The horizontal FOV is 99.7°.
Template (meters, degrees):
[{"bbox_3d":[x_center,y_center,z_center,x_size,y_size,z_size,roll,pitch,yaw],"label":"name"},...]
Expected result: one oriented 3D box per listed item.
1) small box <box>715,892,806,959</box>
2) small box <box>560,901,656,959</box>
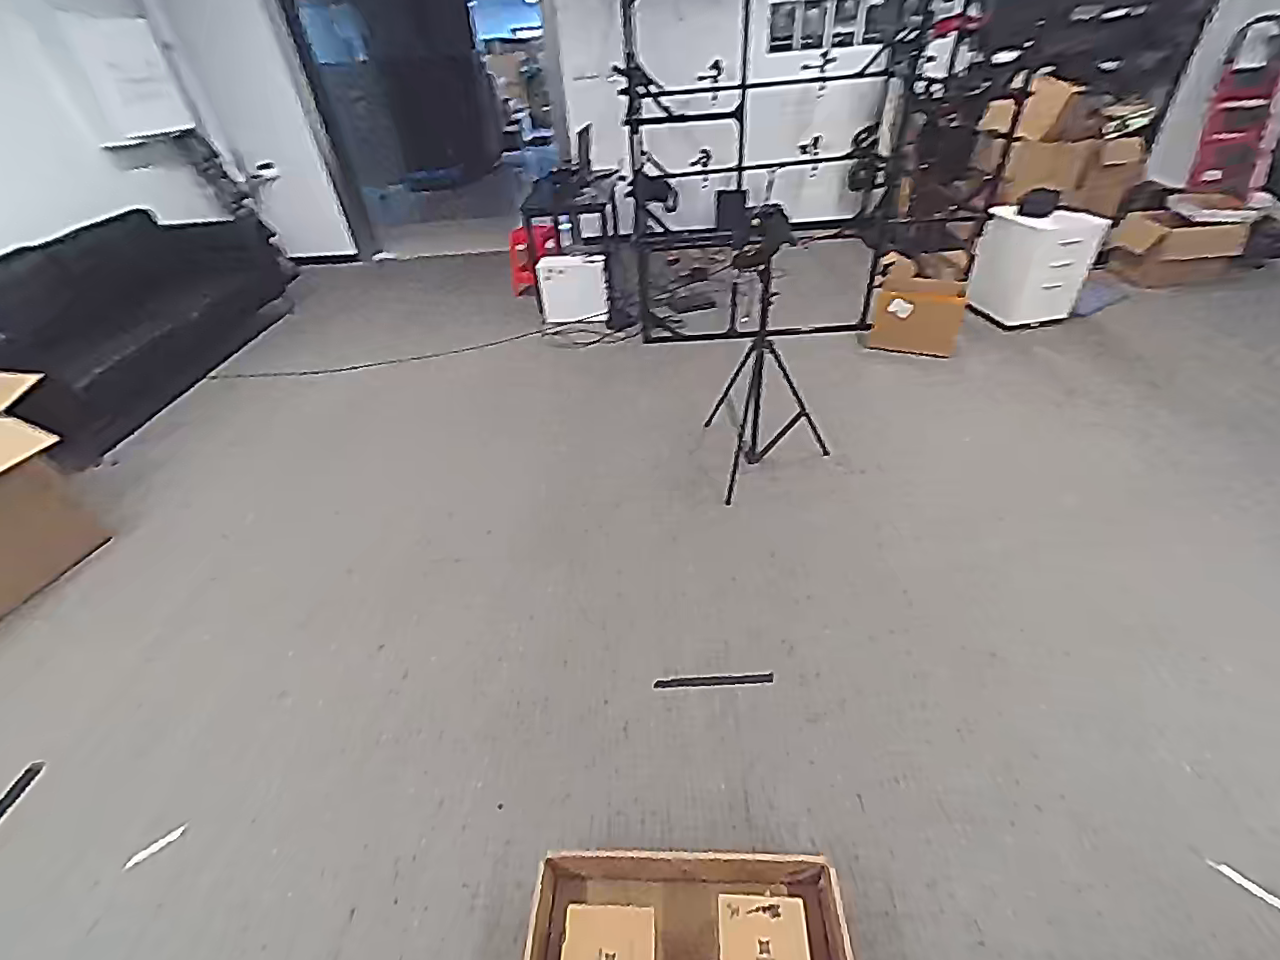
[{"bbox_3d":[0.230,0.931,1.046,0.168,0.176,0.179,-1,41,6],"label":"small box"},{"bbox_3d":[-0.060,0.948,1.057,0.179,0.176,0.168,0,41,3],"label":"small box"}]
